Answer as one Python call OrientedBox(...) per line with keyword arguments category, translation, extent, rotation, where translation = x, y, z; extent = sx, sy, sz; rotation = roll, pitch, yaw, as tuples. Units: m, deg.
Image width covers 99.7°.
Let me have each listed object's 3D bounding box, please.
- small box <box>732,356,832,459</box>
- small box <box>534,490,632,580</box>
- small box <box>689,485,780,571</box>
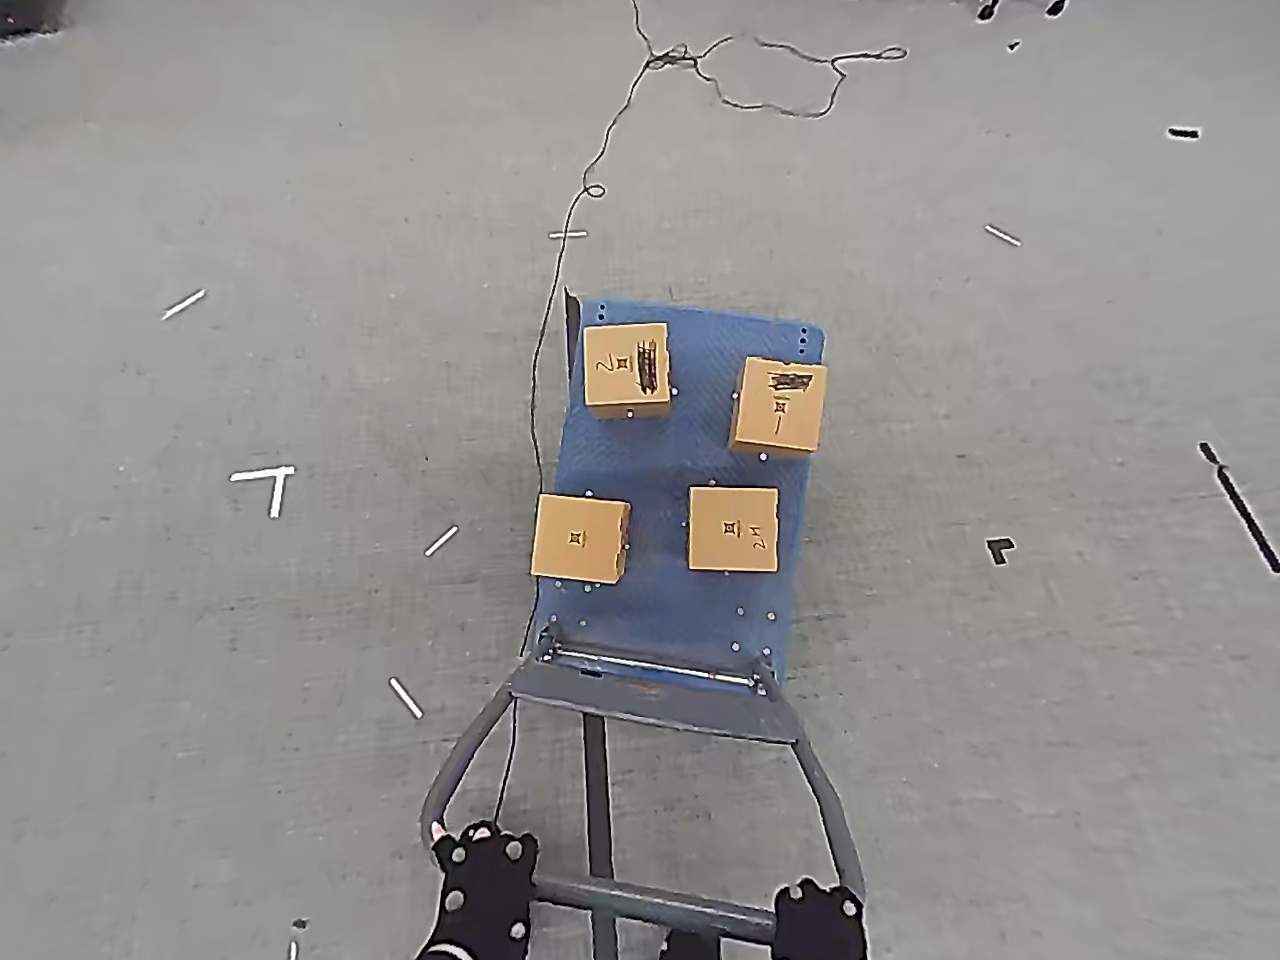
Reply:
OrientedBox(category="small box", translation=(0.296, -0.149, 1.161), extent=(0.168, 0.176, 0.179), rotation=(9, 88, 5))
OrientedBox(category="small box", translation=(-0.117, 0.118, 1.173), extent=(0.179, 0.176, 0.168), rotation=(6, 86, 3))
OrientedBox(category="small box", translation=(0.195, 0.100, 1.151), extent=(0.179, 0.176, 0.168), rotation=(2, 87, 4))
